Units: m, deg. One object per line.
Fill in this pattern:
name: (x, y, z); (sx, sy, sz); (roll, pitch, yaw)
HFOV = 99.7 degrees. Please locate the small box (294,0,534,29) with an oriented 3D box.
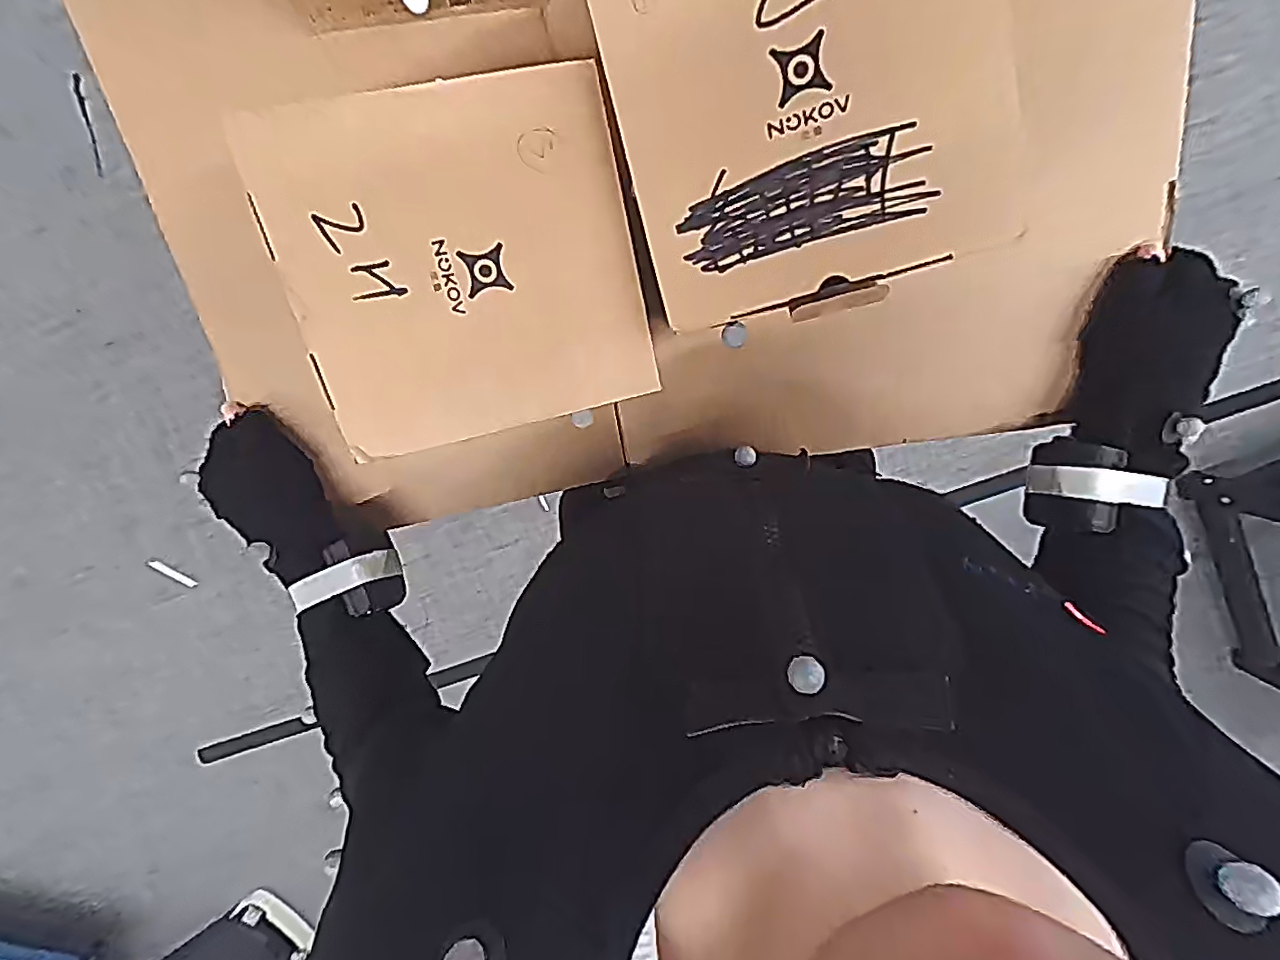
small box: (-0.146, -0.380, 0.274); (0.168, 0.176, 0.179); (-13, 108, -9)
